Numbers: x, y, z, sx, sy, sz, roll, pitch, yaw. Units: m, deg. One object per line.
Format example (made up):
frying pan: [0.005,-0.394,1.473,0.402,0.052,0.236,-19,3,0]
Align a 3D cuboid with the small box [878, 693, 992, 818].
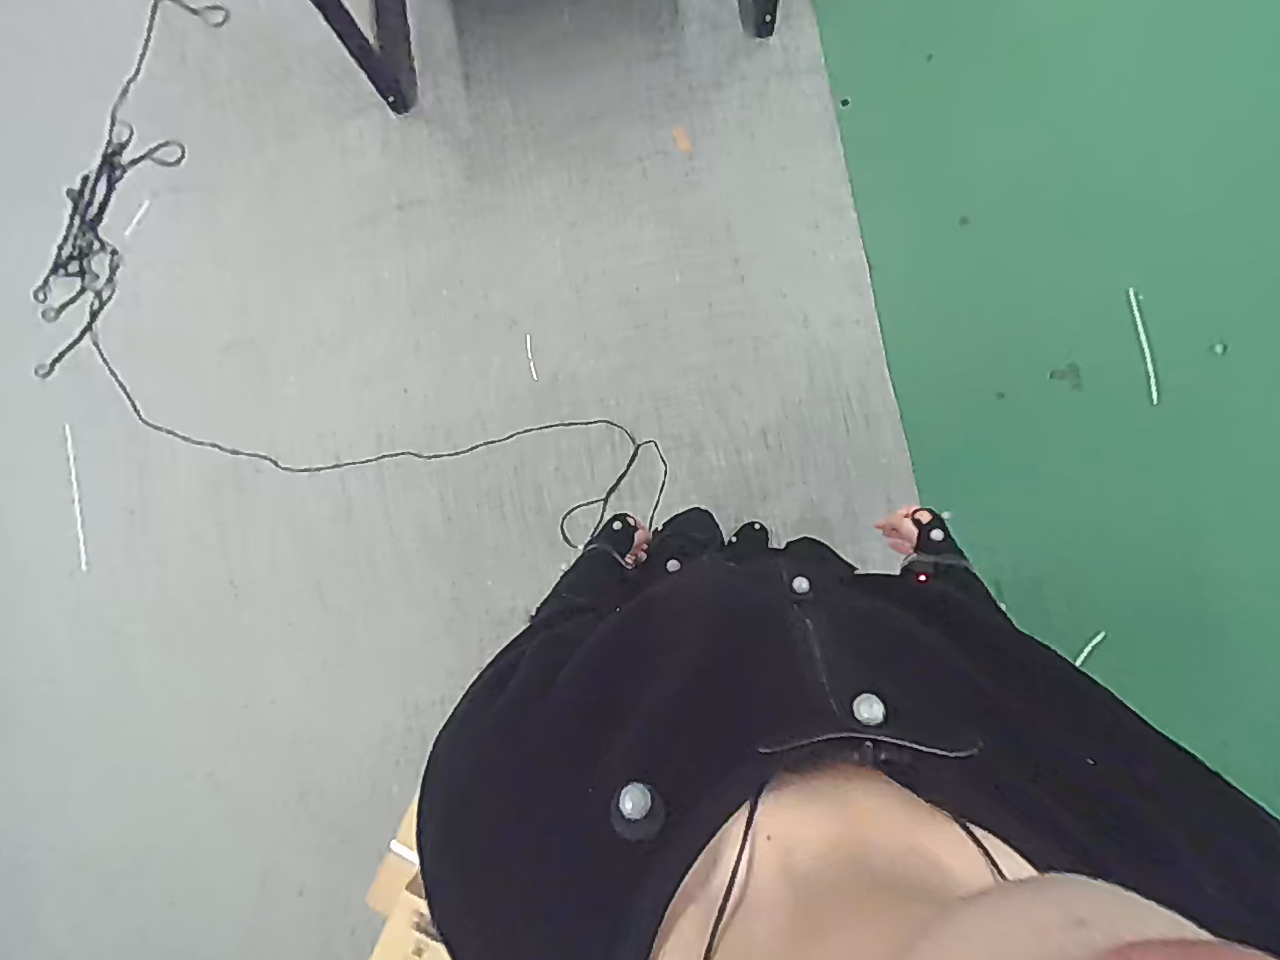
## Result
small box: [0.590,0.532,1.043,0.168,0.176,0.179,-23,84,4]
